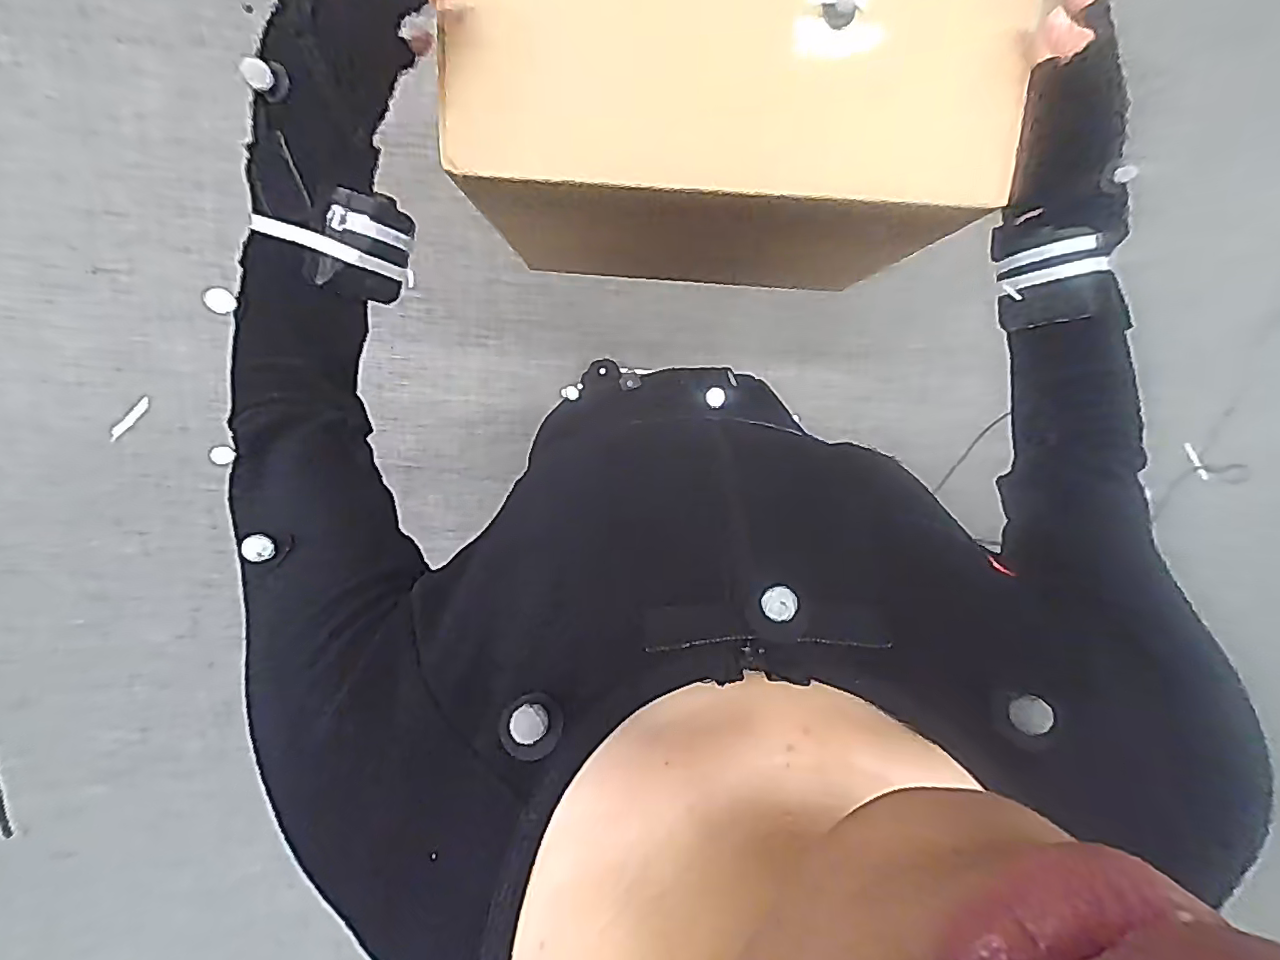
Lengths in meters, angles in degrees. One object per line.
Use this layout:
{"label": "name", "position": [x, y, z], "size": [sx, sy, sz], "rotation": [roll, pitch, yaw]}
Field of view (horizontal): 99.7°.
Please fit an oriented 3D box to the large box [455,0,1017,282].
{"label": "large box", "position": [0.068, -0.390, 0.524], "size": [0.408, 0.320, 0.320], "rotation": [3, 99, 0]}
